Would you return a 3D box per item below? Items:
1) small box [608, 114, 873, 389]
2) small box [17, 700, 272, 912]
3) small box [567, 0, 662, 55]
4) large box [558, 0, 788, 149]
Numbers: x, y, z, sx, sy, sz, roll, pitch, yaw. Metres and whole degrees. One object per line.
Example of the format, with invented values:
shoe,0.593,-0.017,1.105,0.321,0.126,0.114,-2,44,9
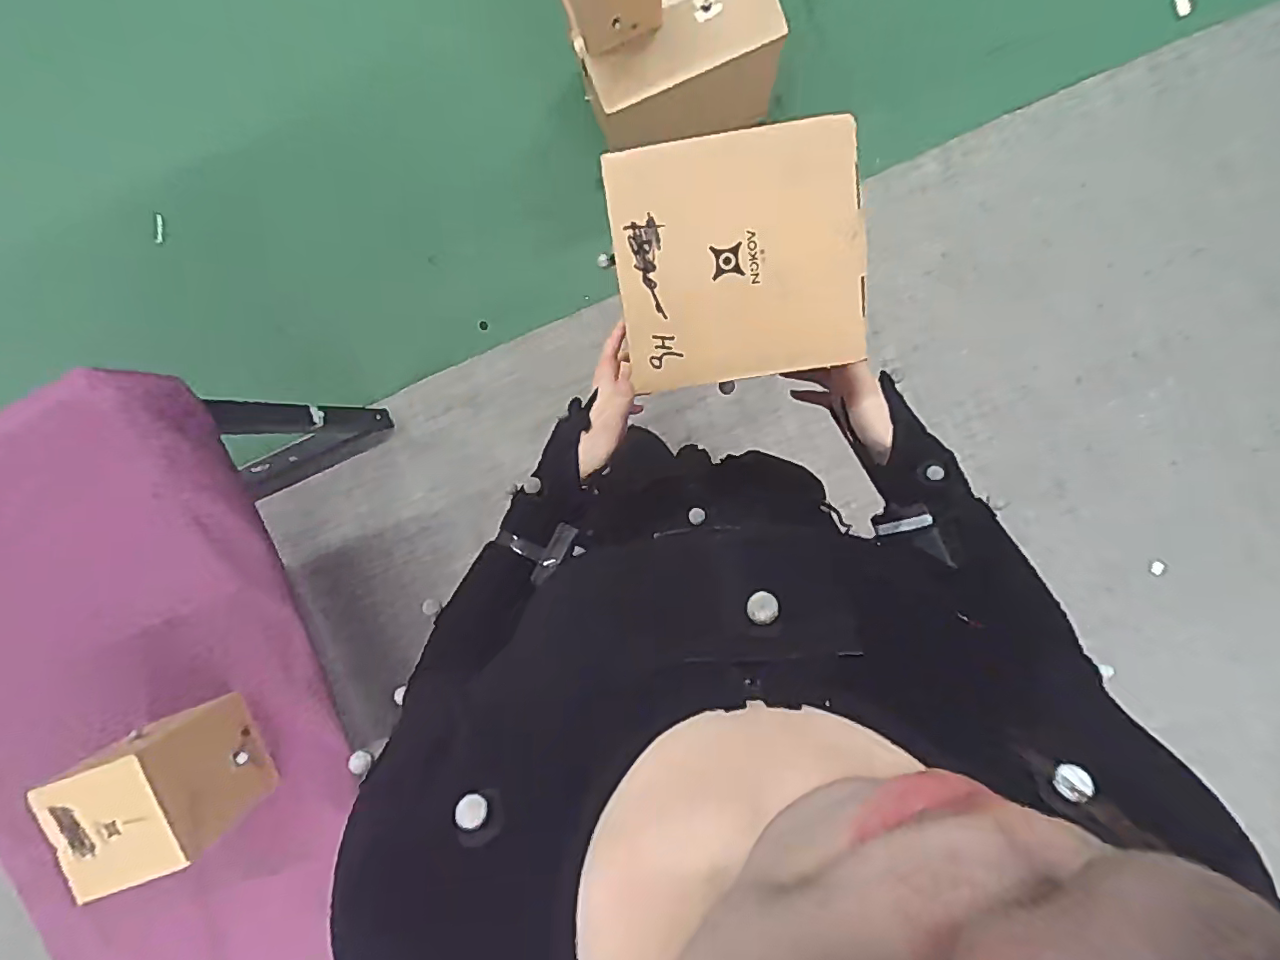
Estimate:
small box,0.071,-0.169,0.450,0.179,0.176,0.168,-7,100,1
small box,-0.677,0.444,0.761,0.179,0.176,0.168,-21,94,6
small box,-0.064,-0.962,1.011,0.168,0.176,0.179,-21,93,5
large box,0.071,-0.974,1.244,0.408,0.320,0.320,-21,94,5
